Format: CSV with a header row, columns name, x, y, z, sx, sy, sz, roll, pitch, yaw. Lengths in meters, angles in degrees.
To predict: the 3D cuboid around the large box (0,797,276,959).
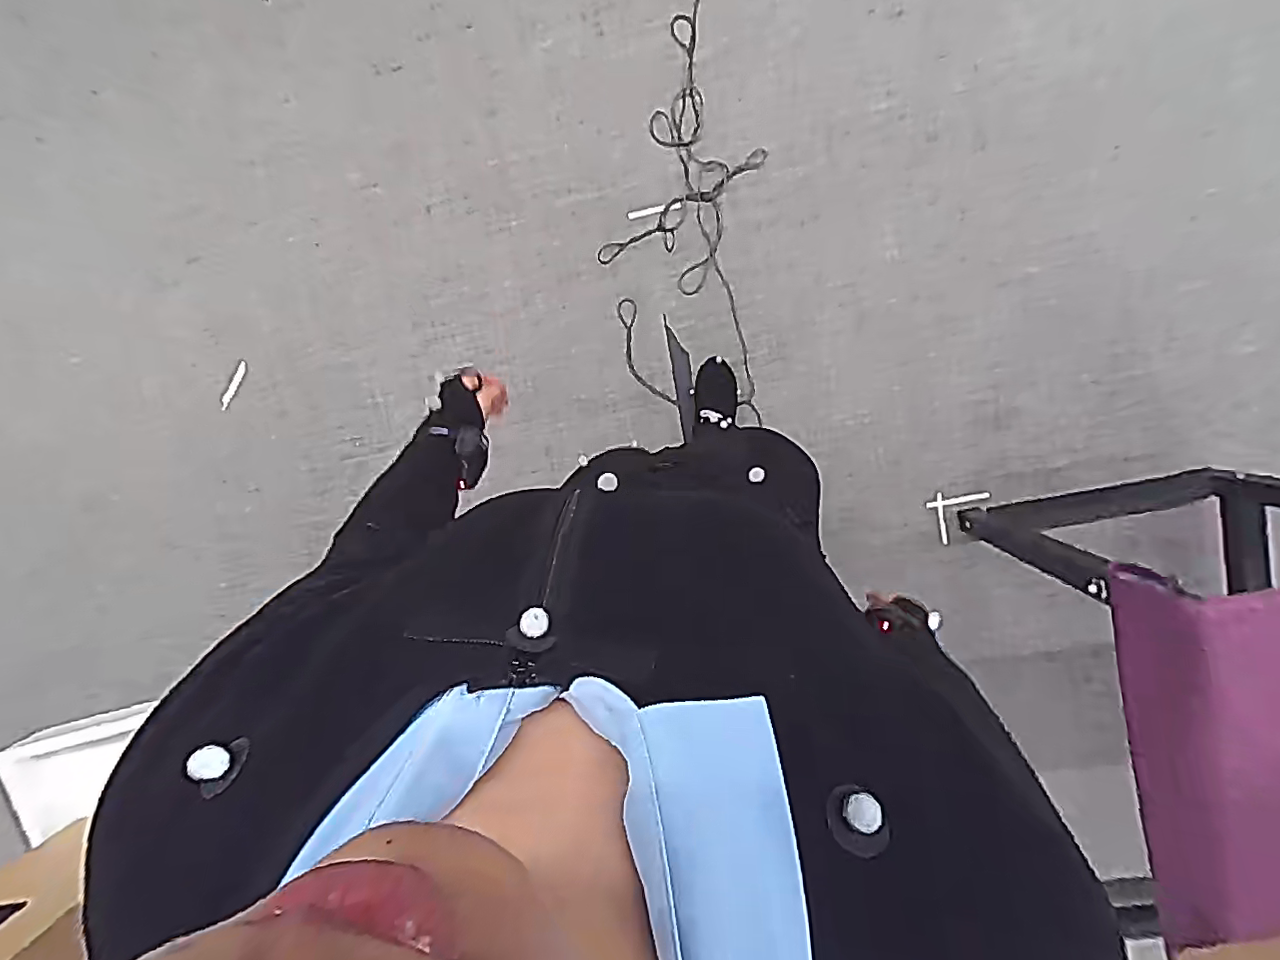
name,x,y,z,sx,sy,sz,roll,pitch,yaw
large box,-0.904,0.826,0.894,0.320,0.320,0.408,-13,98,9
